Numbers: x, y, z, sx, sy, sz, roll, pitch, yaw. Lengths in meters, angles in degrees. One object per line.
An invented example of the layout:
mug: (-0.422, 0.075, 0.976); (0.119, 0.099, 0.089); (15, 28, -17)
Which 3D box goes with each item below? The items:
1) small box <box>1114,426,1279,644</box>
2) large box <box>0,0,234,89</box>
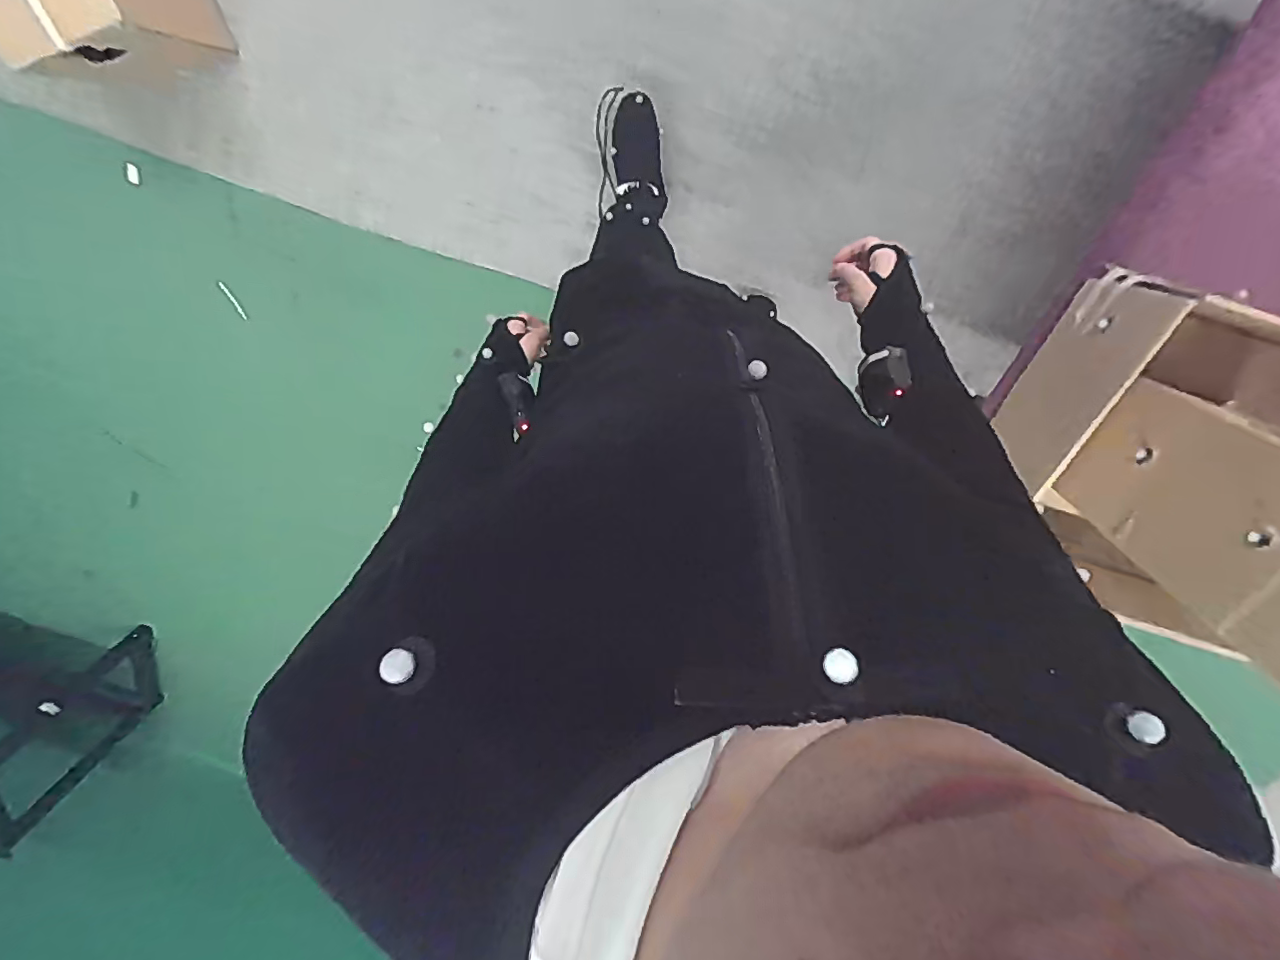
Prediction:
small box: (0.669, 0.066, 0.564); (0.168, 0.176, 0.179); (20, 118, -4)
large box: (-1.187, -1.110, 1.124); (0.320, 0.320, 0.408); (-10, 119, 12)
